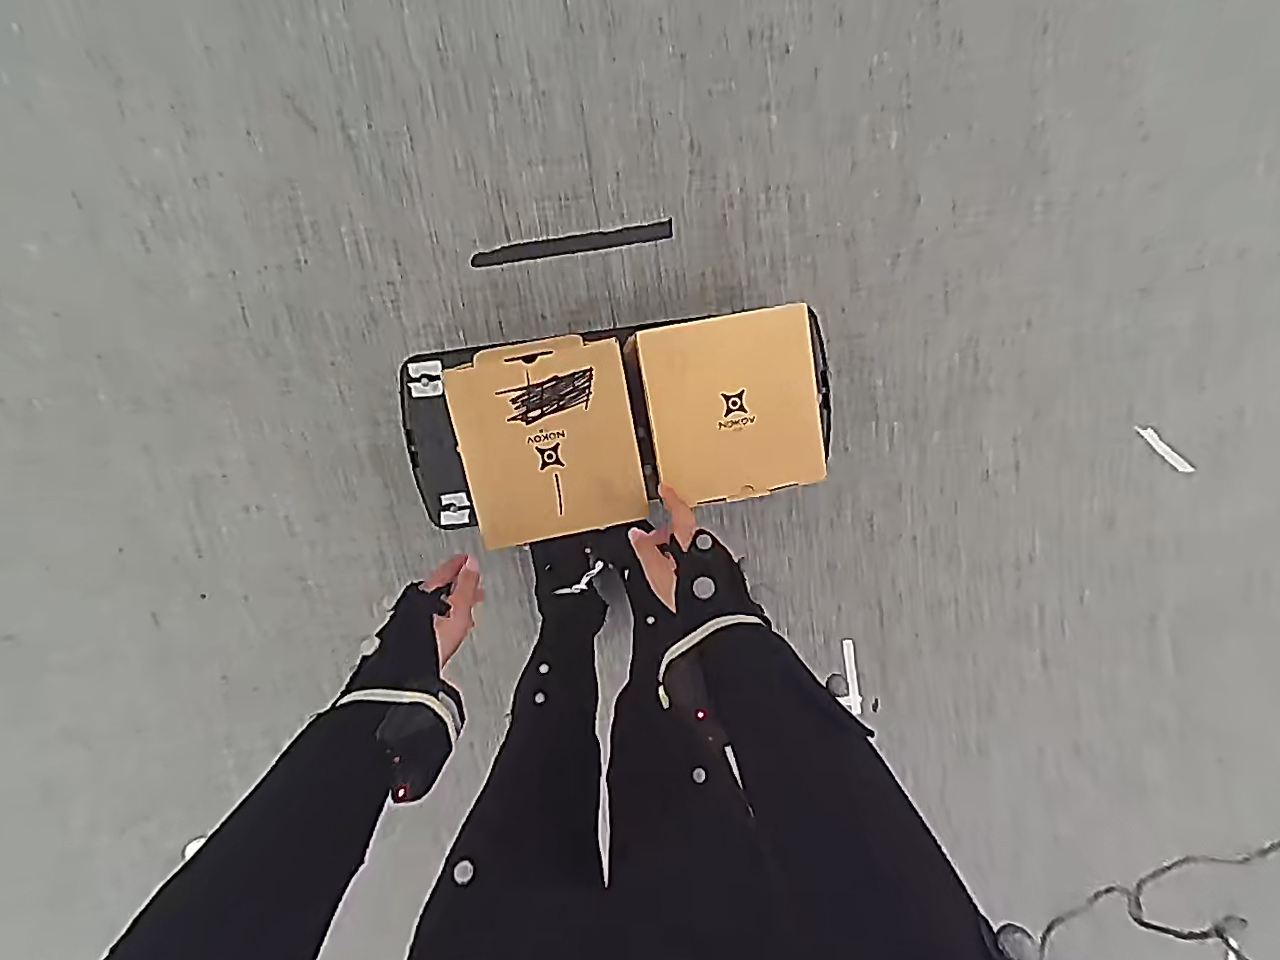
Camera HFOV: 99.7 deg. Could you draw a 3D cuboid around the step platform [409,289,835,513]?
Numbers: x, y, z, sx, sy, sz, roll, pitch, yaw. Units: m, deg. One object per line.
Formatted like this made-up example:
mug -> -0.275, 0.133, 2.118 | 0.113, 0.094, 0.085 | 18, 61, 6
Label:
step platform -> -0.024, -0.133, 0.927 | 0.684, 0.204, 0.286 | -9, 99, -2
